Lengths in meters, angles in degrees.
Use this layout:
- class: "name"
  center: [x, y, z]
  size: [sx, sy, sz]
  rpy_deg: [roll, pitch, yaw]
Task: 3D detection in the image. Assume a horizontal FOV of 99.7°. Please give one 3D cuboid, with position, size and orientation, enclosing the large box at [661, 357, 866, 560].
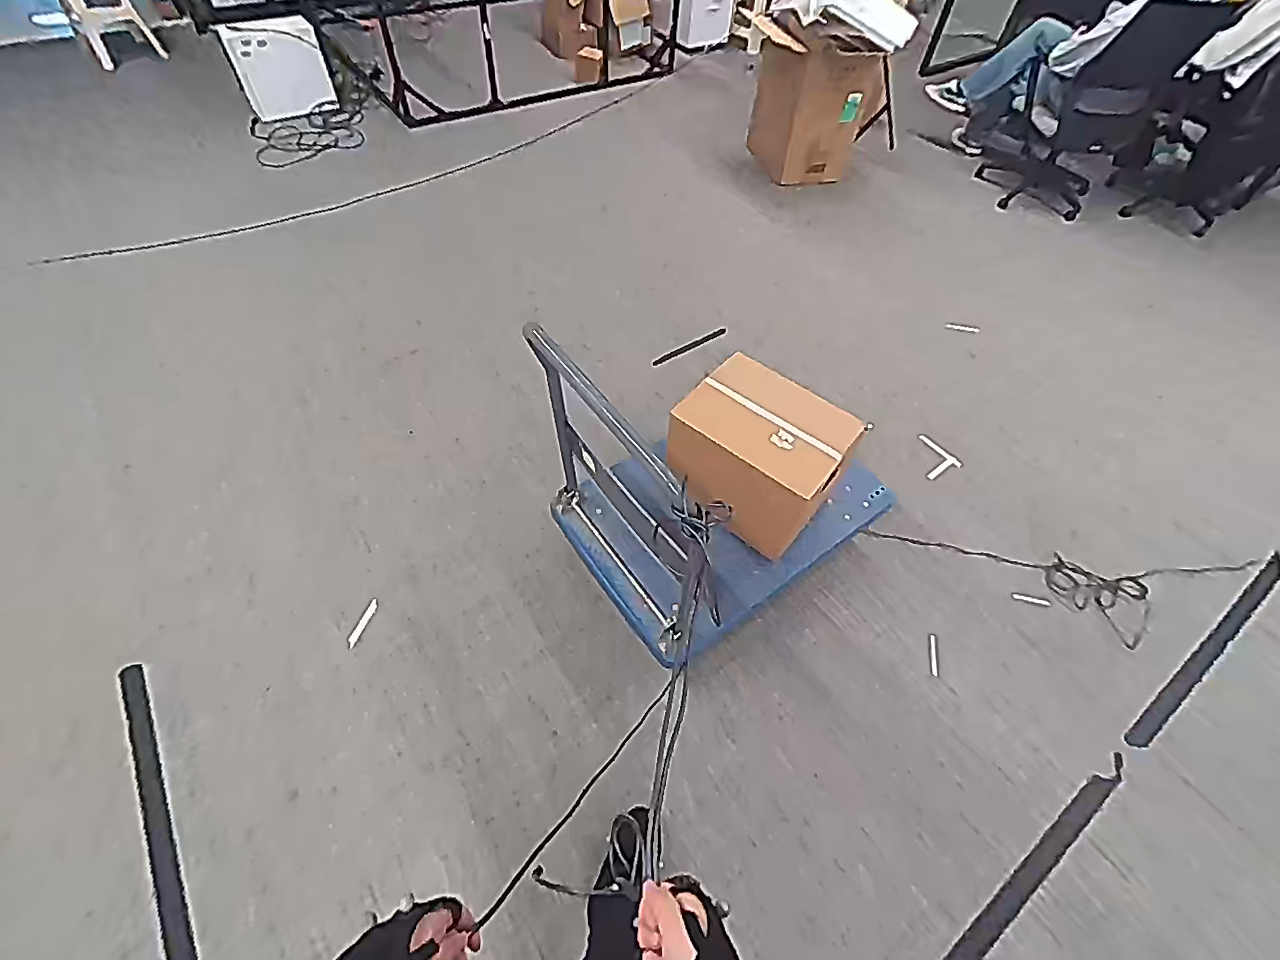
- class: "large box"
  center: [0.315, -0.061, 1.479]
  size: [0.408, 0.320, 0.320]
  rpy_deg: [35, 60, 20]
